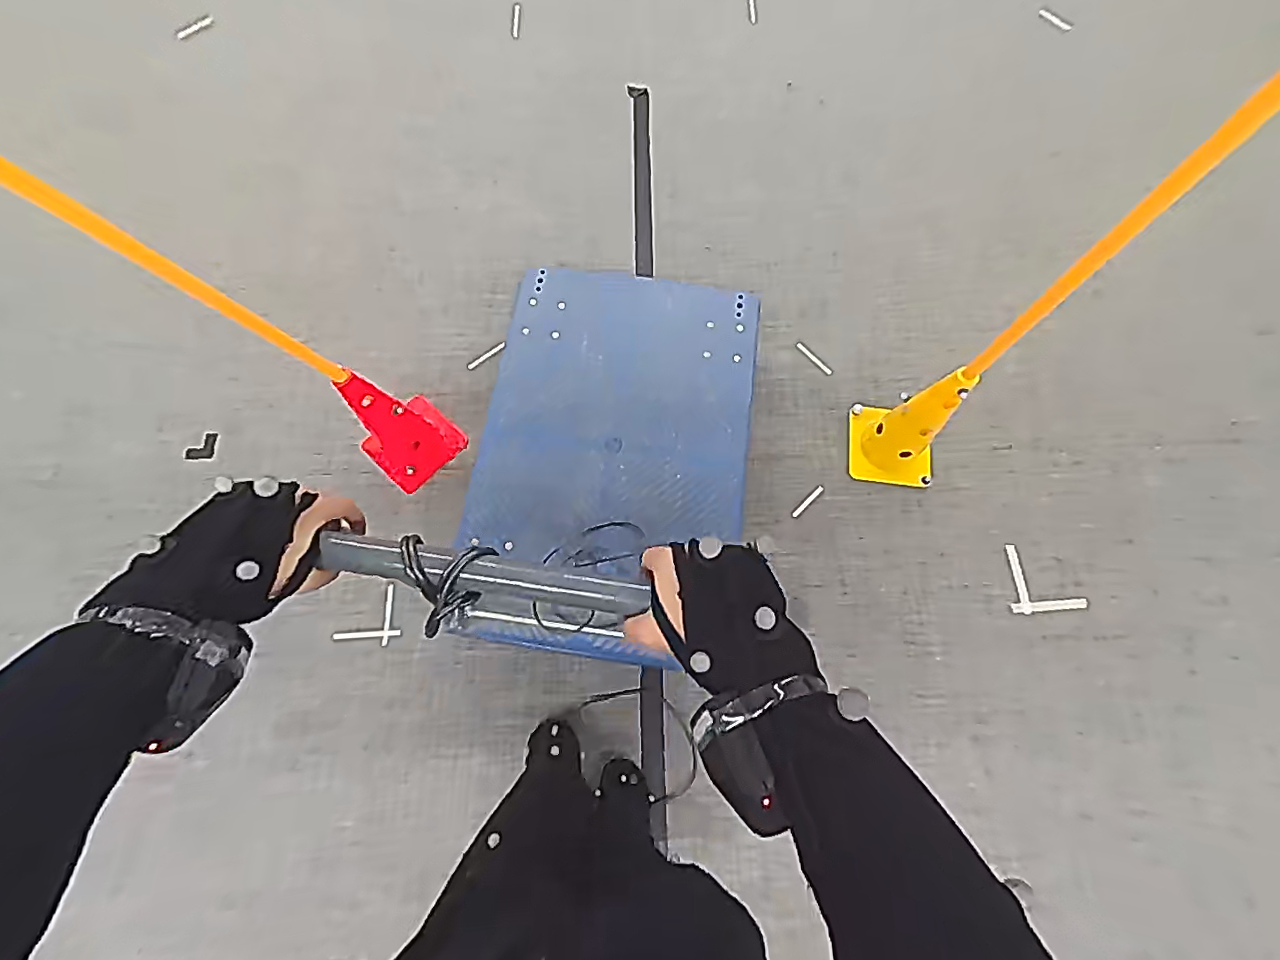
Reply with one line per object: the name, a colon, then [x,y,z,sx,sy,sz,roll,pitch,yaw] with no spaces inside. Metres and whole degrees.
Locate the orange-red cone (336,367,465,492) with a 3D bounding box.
orange-red cone: [-0.560,-0.144,1.188,0.198,0.360,0.199,43,76,12]
